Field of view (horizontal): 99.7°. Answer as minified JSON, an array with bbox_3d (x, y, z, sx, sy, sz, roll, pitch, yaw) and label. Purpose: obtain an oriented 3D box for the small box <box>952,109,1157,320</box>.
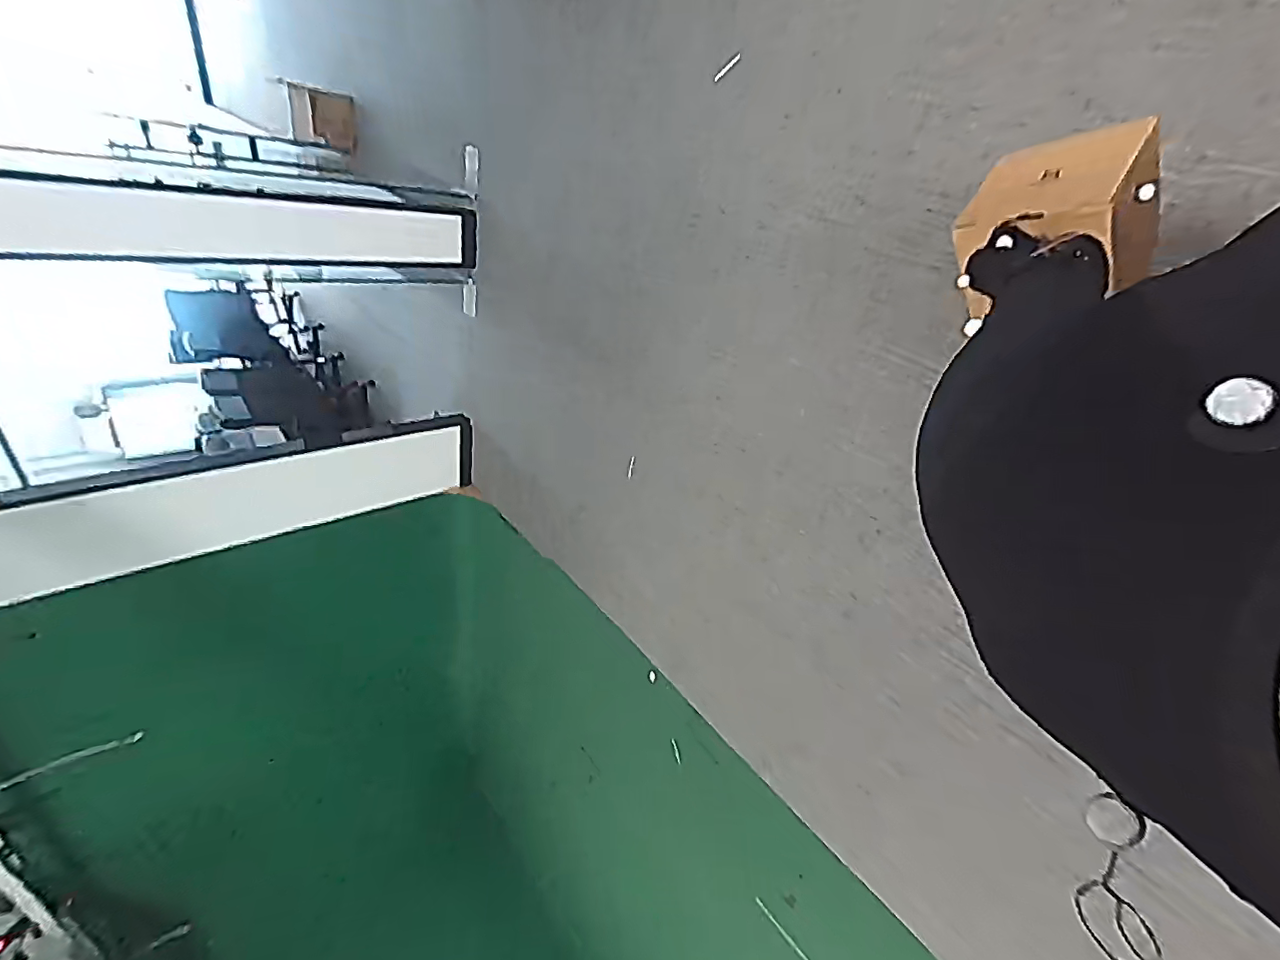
[{"bbox_3d":[0.550,-0.337,0.719,0.168,0.179,0.176,16,153,51],"label":"small box"}]
